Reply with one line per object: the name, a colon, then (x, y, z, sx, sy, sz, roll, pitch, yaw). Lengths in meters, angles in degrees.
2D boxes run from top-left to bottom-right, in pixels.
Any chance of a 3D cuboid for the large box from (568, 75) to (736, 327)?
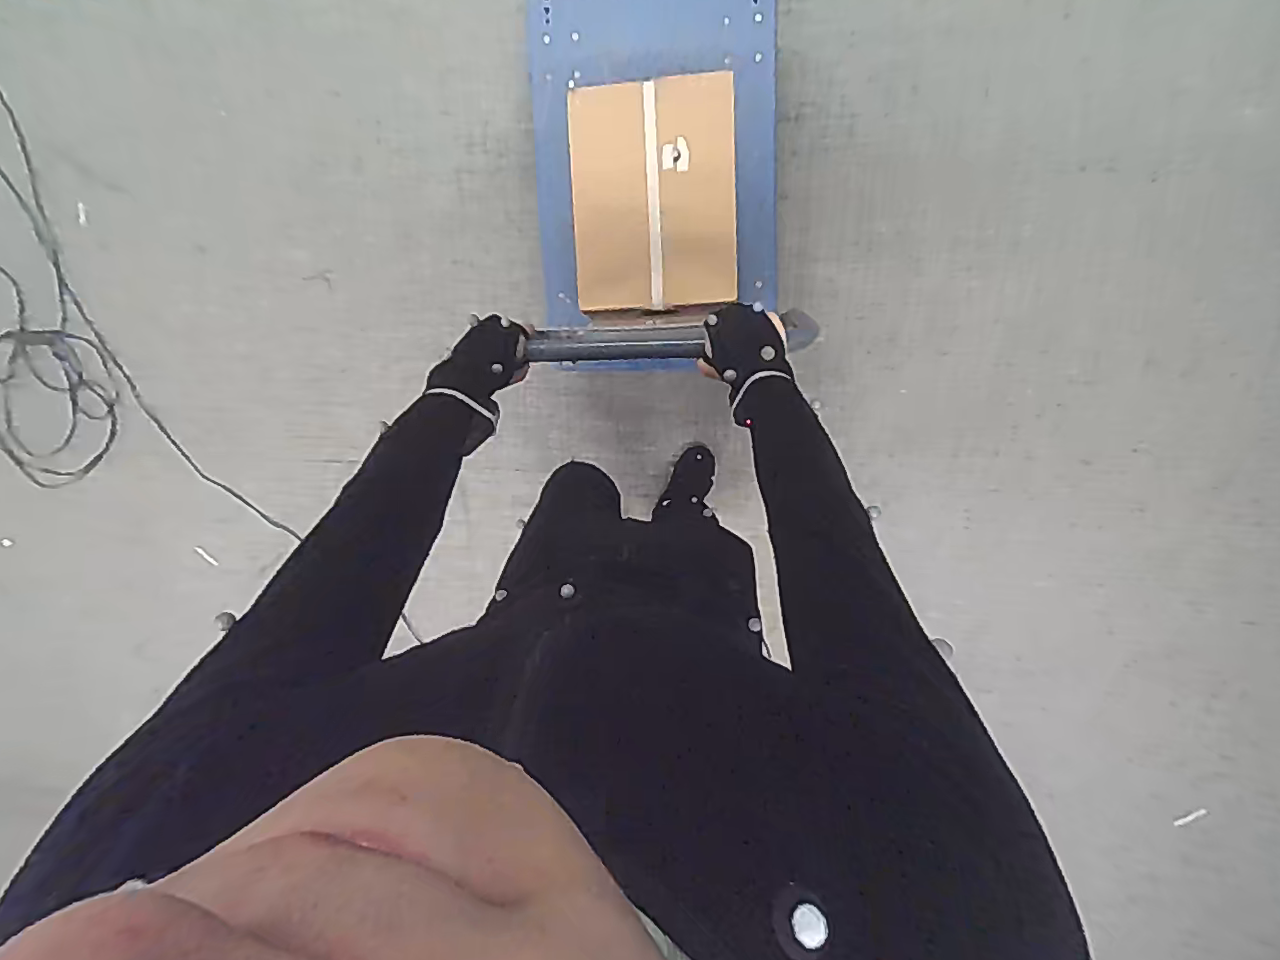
large box: (0.041, -0.569, 1.188, 0.320, 0.320, 0.408, -1, 98, 6)
